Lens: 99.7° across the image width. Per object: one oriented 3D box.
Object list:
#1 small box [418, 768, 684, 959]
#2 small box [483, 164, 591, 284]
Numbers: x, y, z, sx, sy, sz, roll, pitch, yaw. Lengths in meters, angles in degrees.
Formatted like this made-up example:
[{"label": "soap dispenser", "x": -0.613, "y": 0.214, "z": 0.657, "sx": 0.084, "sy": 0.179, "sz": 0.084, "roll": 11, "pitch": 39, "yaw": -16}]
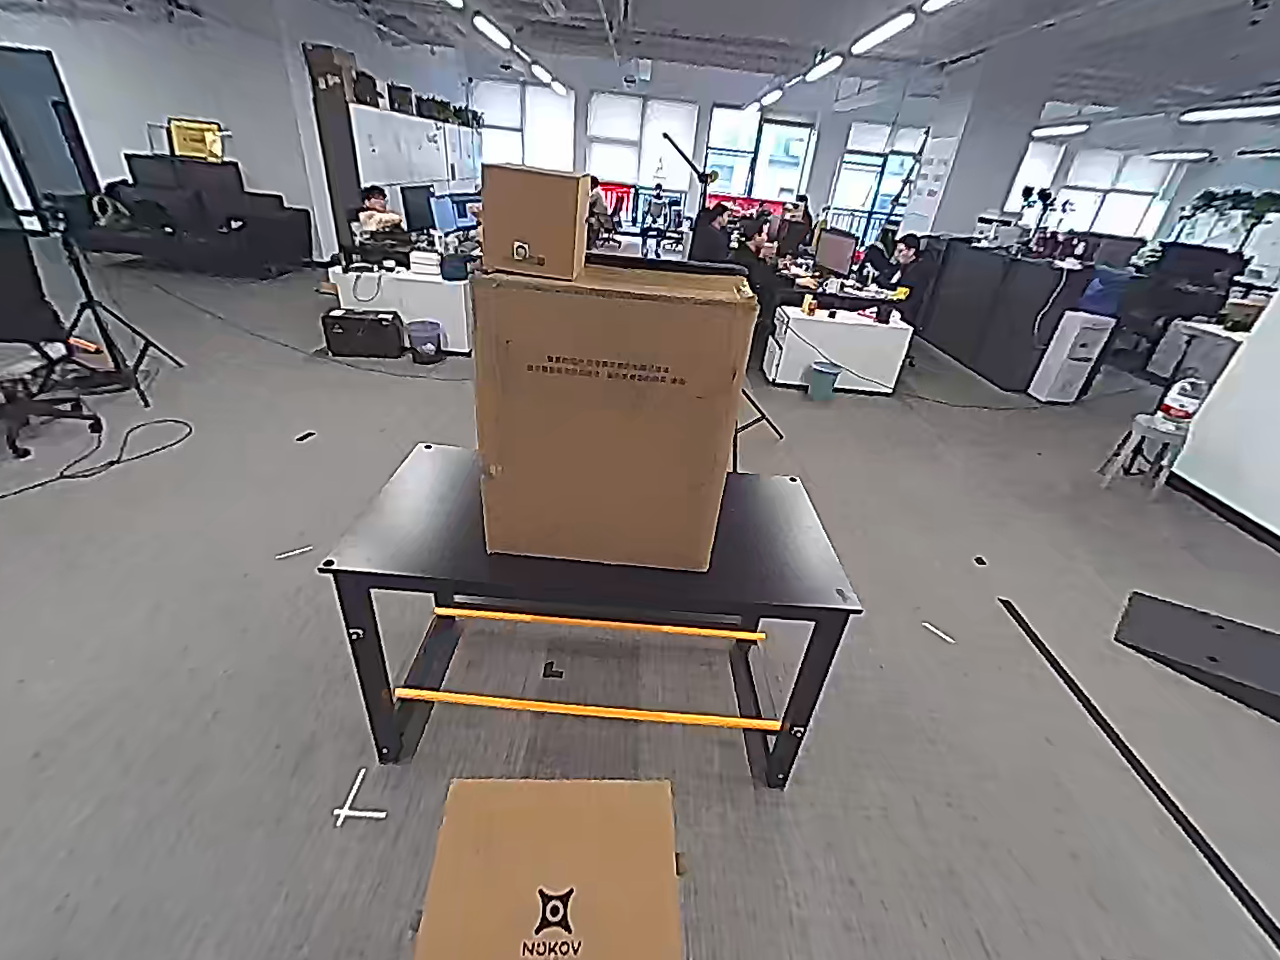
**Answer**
[{"label": "small box", "x": -0.061, "y": 0.338, "z": 0.401, "sx": 0.168, "sy": 0.176, "sz": 0.179, "roll": 2, "pitch": 42, "yaw": -4}, {"label": "small box", "x": -0.186, "y": -0.474, "z": 0.997, "sx": 0.168, "sy": 0.176, "sz": 0.179, "roll": 6, "pitch": 32, "yaw": -3}]
